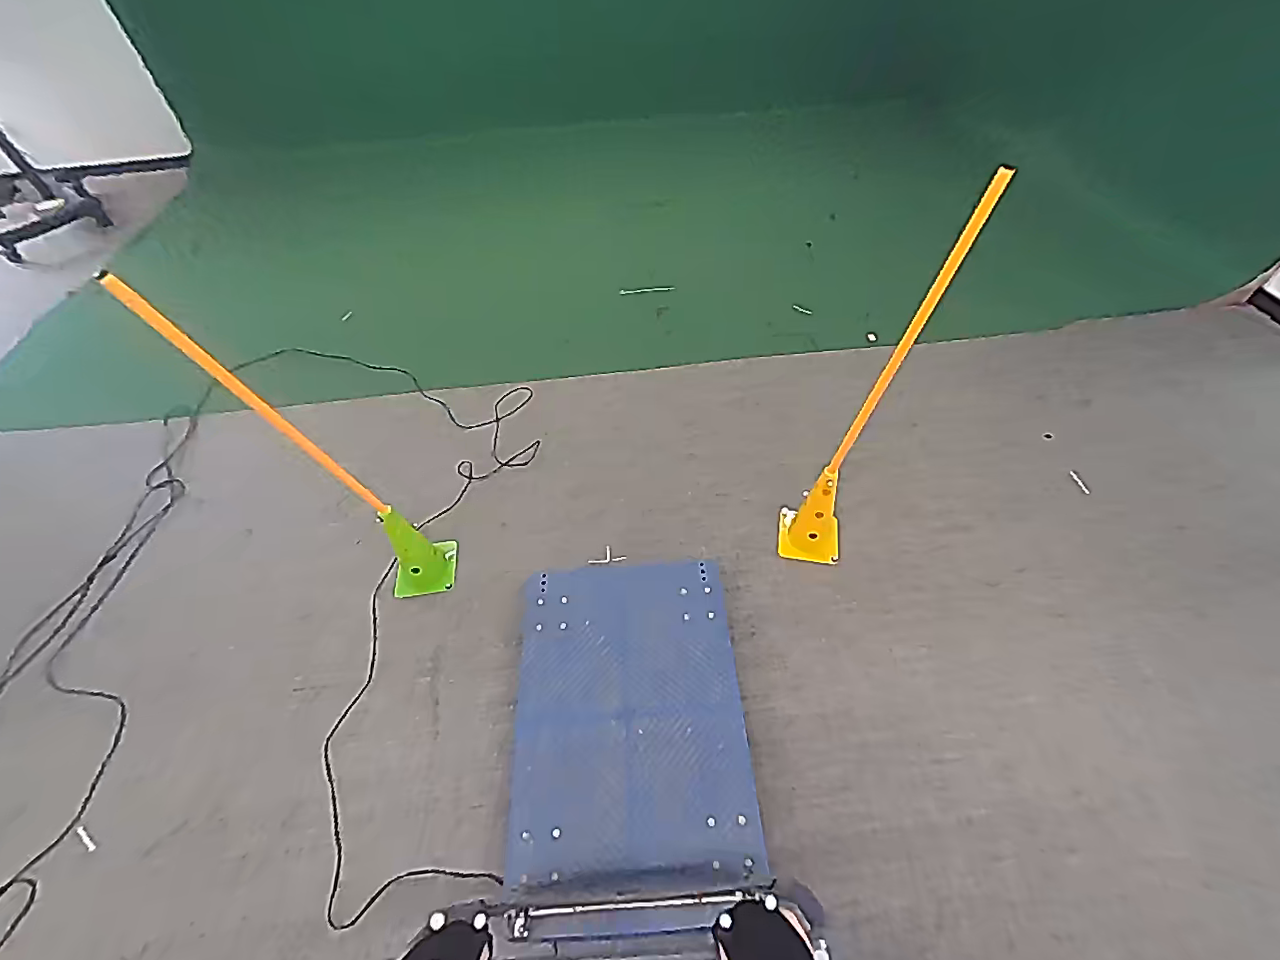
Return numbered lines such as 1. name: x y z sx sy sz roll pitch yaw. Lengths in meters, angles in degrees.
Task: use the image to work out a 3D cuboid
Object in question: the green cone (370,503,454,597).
1. green cone: -0.756 0.191 1.729 0.202 0.368 0.200 -10 51 -2
